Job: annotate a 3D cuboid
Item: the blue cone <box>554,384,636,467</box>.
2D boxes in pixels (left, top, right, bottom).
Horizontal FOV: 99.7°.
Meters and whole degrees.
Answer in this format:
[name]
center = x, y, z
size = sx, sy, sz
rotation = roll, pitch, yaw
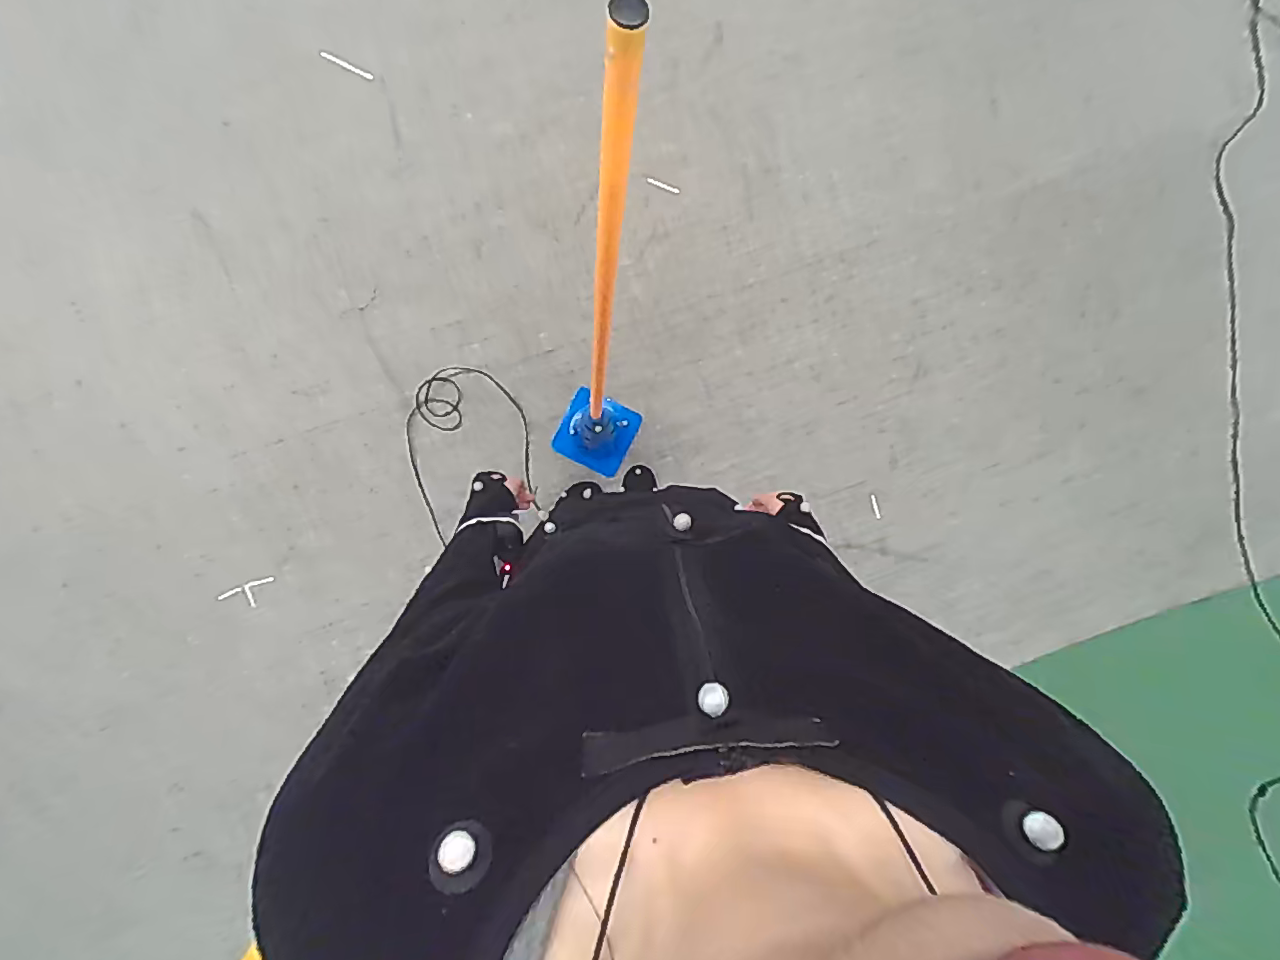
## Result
[blue cone]
center = -0.109, -0.154, 1.304
size = 0.192, 0.380, 0.193
rotation = 26, 86, -4
